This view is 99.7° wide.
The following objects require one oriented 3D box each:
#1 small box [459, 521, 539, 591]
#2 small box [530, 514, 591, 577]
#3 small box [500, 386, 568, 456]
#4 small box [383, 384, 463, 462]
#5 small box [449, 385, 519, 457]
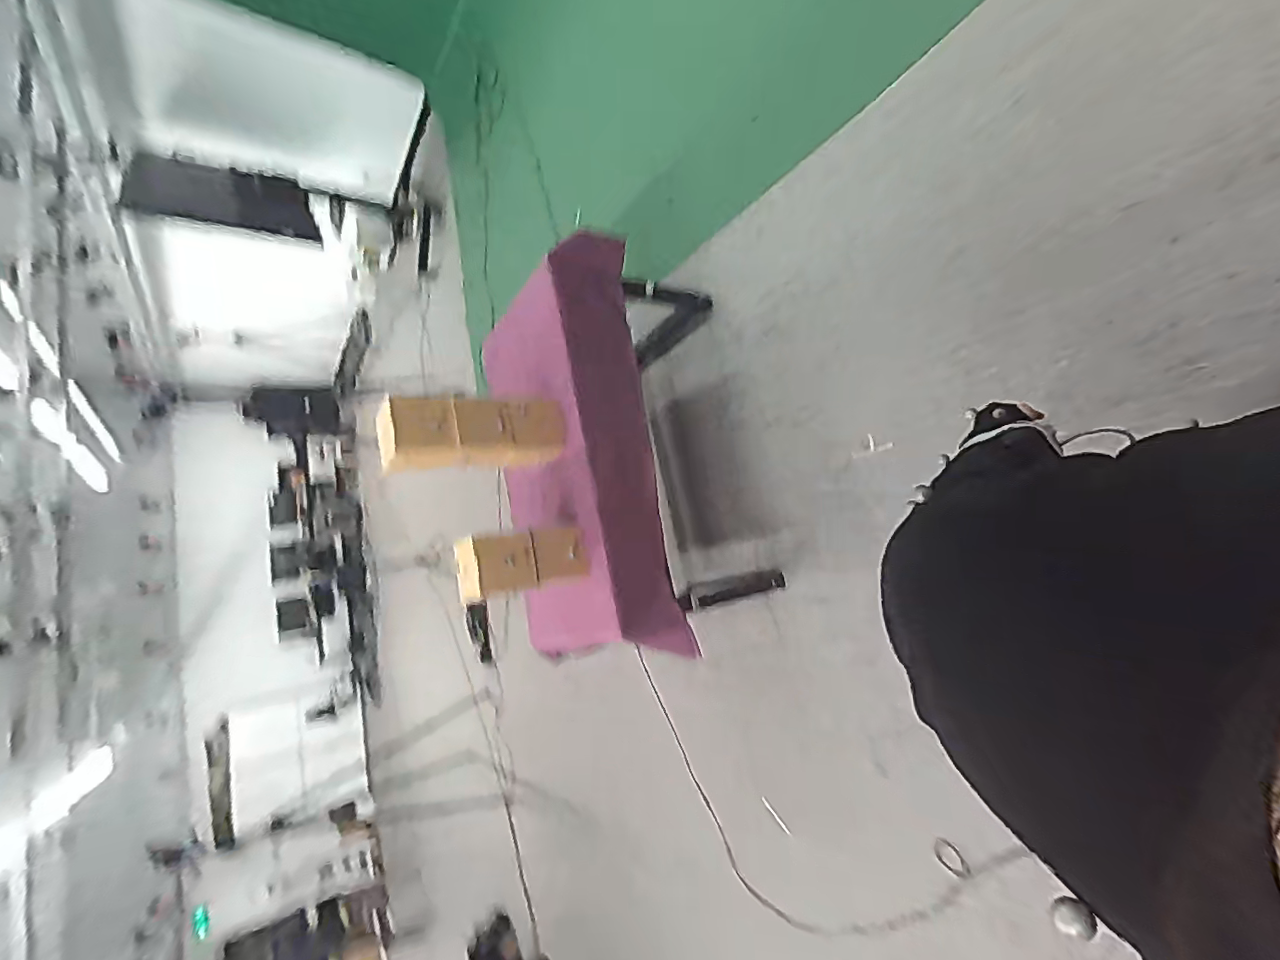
[{"bbox_3d":[-0.395,0.215,1.537,0.179,0.176,0.168,-22,75,52],"label":"small box"},{"bbox_3d":[-0.268,0.204,1.641,0.179,0.176,0.168,-23,75,52],"label":"small box"},{"bbox_3d":[-0.346,-0.182,1.709,0.168,0.176,0.179,-26,73,52],"label":"small box"},{"bbox_3d":[-0.612,-0.157,1.523,0.179,0.176,0.168,-30,70,50],"label":"small box"},{"bbox_3d":[-0.479,-0.171,1.614,0.179,0.176,0.168,-27,72,51],"label":"small box"}]
